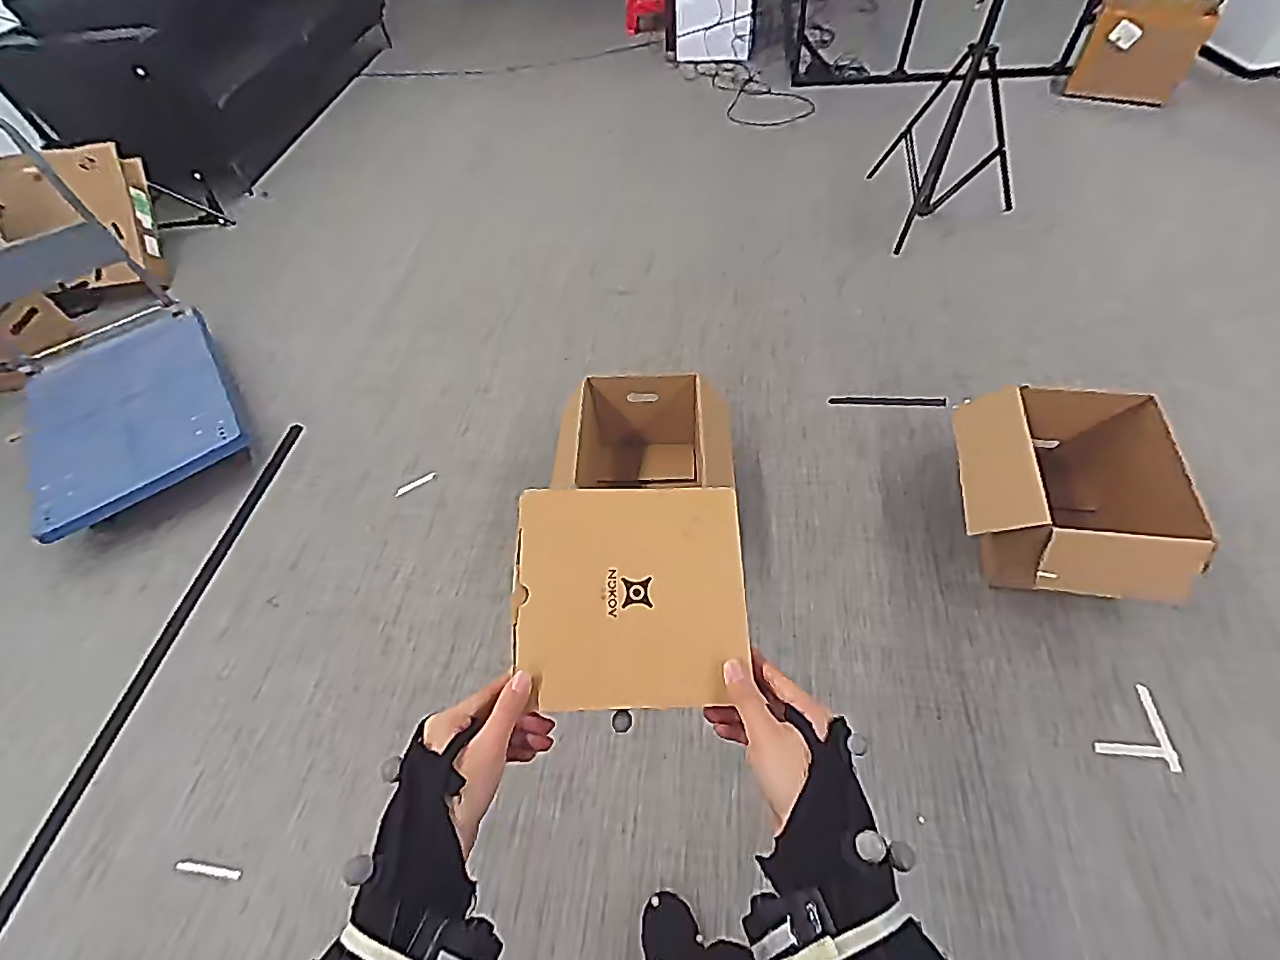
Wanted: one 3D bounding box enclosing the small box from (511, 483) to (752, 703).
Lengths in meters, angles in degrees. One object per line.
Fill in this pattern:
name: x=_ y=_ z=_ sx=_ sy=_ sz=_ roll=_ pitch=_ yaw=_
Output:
small box: x=-0.008 y=0.107 z=0.487 sx=0.179 sy=0.176 sz=0.168 roll=-1 pitch=70 yaw=-1
